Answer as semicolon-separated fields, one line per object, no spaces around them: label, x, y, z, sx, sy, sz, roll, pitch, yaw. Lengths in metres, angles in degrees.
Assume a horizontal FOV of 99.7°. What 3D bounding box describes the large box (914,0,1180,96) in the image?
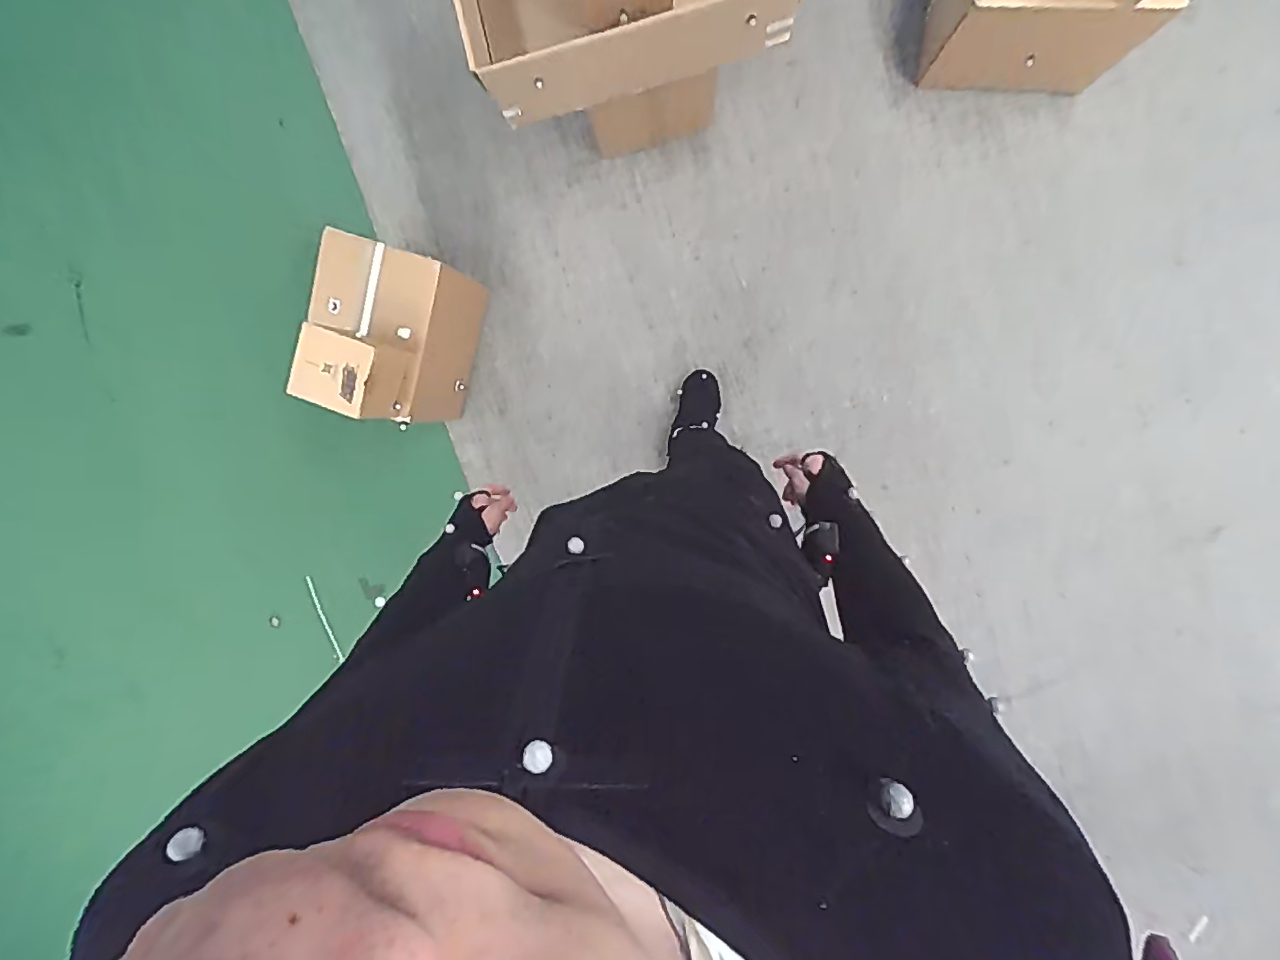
large box;0.900;-1.112;1.216;0.408;0.320;0.320;5;98;6

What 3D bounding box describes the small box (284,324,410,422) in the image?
small box;-0.664;-0.243;1.245;0.179;0.176;0.168;20;99;3
